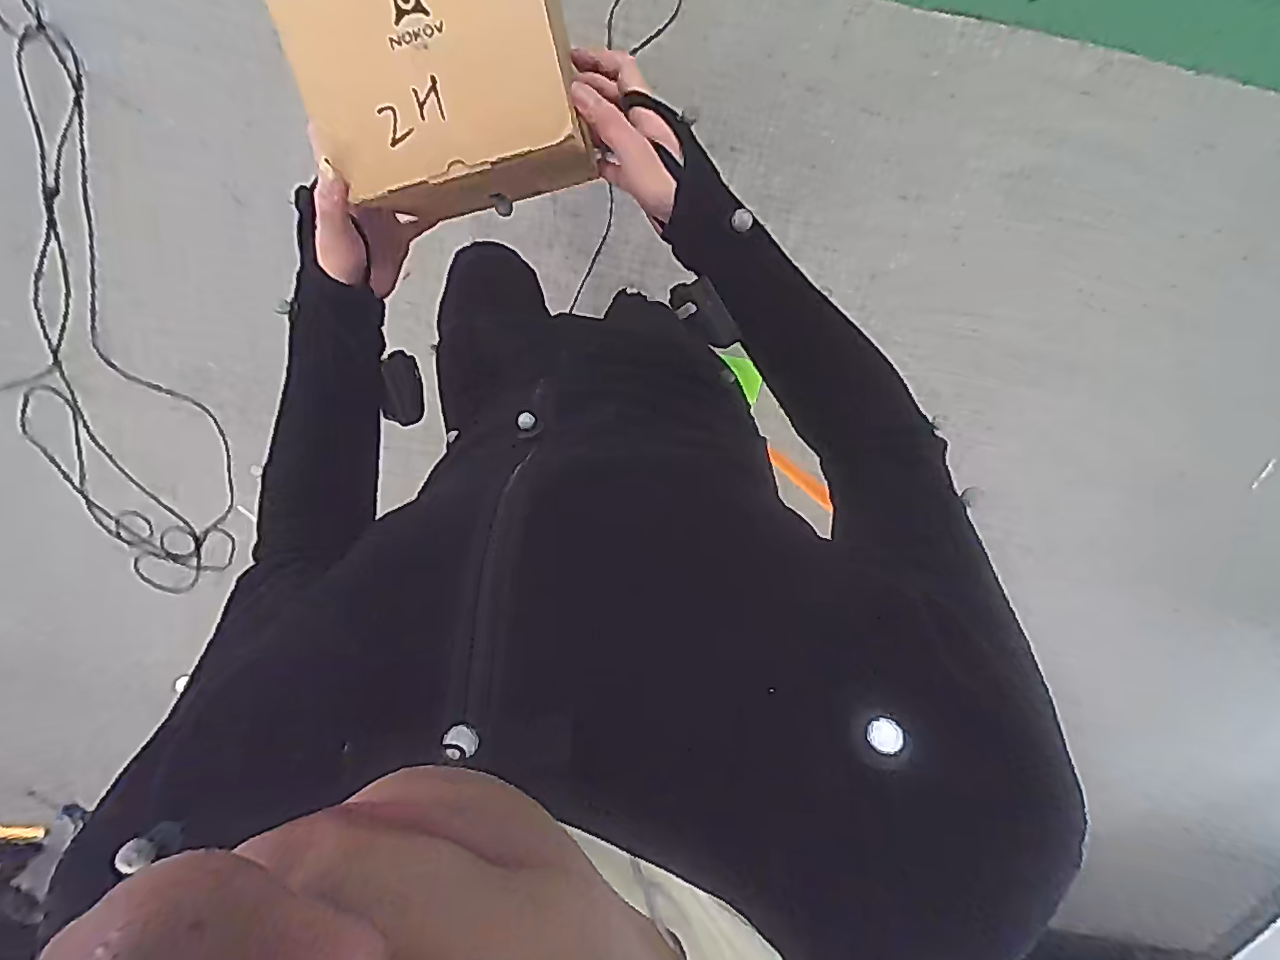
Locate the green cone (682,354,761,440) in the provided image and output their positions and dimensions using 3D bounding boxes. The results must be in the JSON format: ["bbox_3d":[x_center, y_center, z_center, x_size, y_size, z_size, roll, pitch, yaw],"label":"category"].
[{"bbox_3d":[0.233,-0.189,1.438,0.202,0.368,0.200,10,114,-3],"label":"green cone"}]

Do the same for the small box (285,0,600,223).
[{"bbox_3d":[-0.132,-0.311,0.412,0.168,0.176,0.179,-10,112,5],"label":"small box"}]
